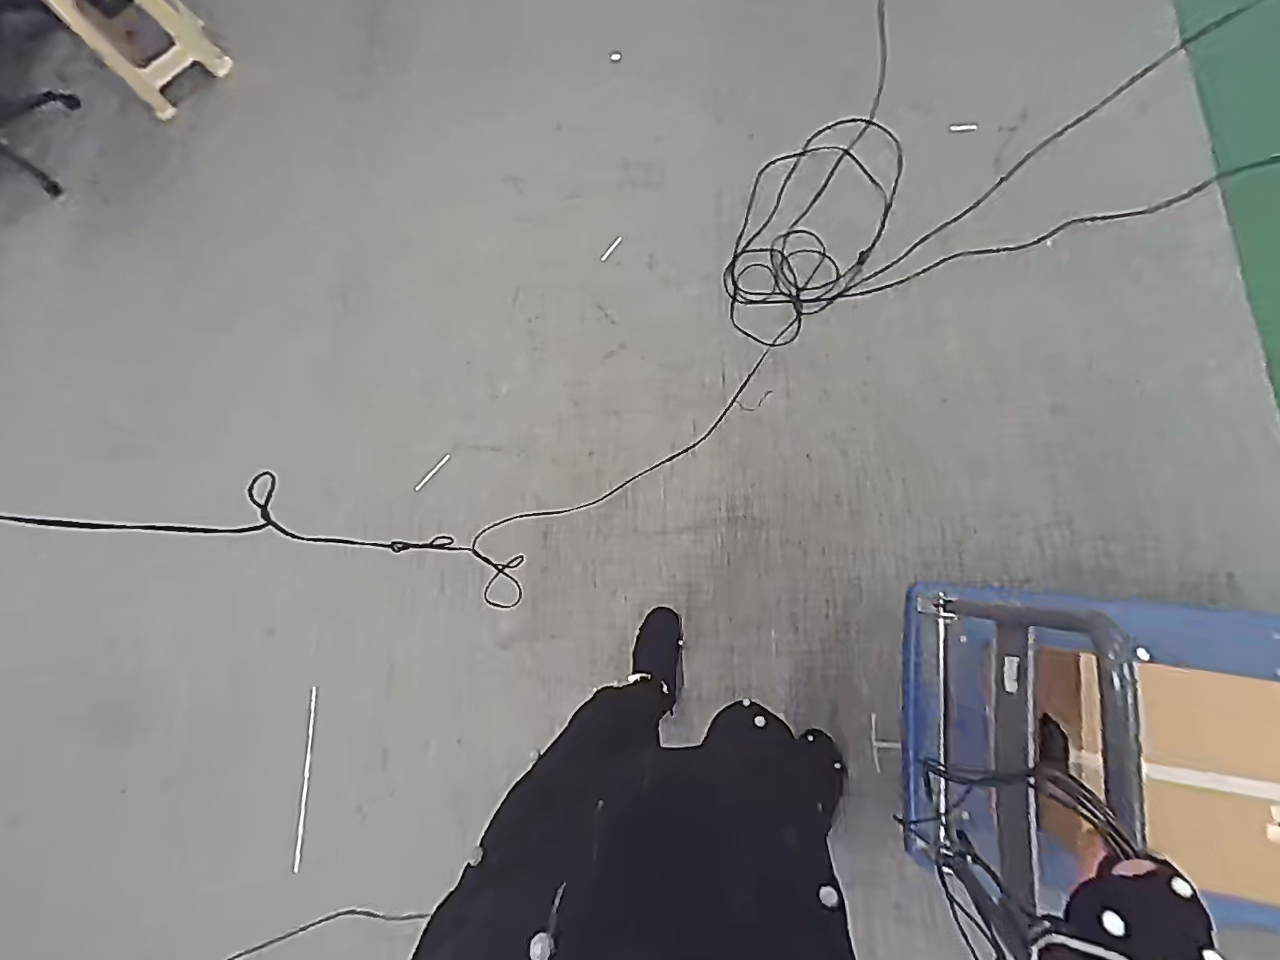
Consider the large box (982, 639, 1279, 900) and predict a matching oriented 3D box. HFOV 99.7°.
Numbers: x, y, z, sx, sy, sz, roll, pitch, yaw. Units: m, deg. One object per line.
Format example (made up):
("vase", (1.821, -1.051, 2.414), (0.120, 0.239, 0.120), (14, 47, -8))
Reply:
("large box", (0.884, 0.472, 0.951), (0.408, 0.320, 0.320), (7, 80, 9))
